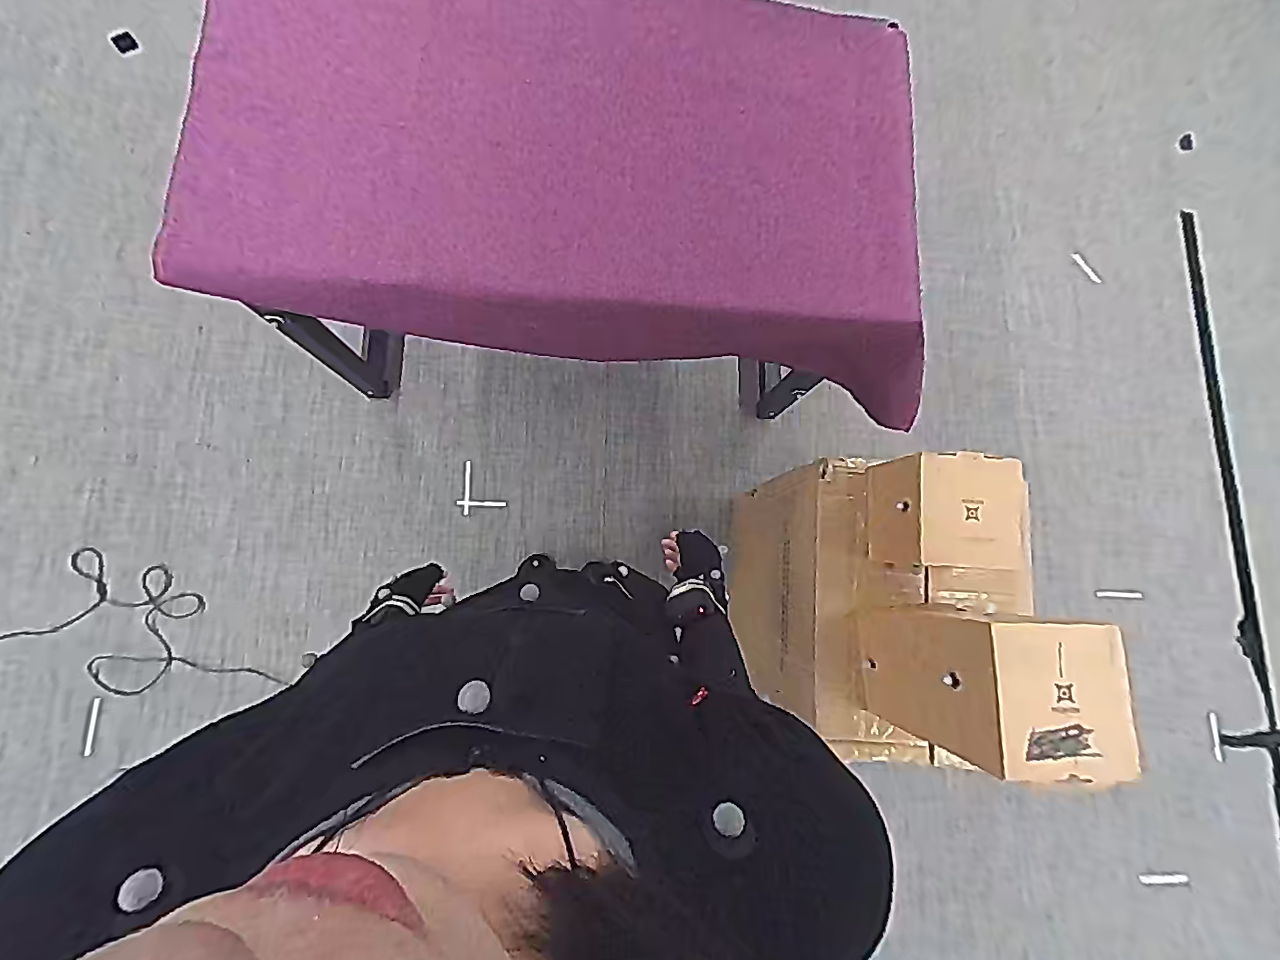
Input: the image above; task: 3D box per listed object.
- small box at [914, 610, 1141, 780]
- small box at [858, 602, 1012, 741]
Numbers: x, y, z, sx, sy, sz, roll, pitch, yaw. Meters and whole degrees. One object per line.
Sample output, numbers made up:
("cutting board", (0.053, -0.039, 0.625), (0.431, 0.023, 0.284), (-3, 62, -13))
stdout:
("small box", (0.481, 0.264, 0.698), (0.168, 0.176, 0.179), (2, 79, -4))
("small box", (0.470, 0.293, 0.861), (0.168, 0.176, 0.179), (-3, 81, -5))
